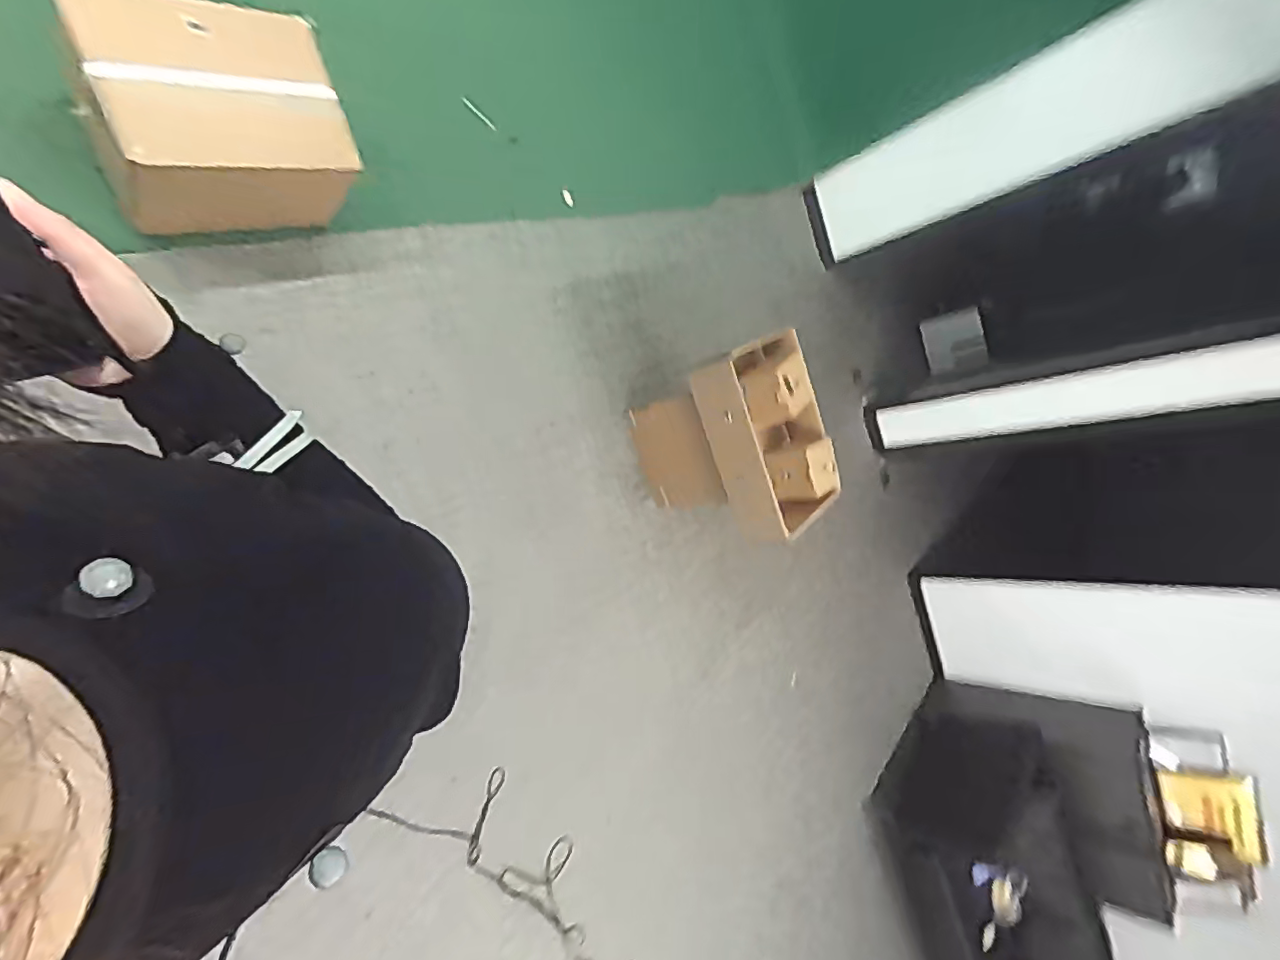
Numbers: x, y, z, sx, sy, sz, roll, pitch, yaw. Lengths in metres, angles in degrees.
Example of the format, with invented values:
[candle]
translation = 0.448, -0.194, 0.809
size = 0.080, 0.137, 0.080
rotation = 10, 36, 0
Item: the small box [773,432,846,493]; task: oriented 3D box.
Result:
[small box]
translation = 0.578, -0.058, 1.862
size = 0.179, 0.176, 0.168
rotation = -21, 100, -40
